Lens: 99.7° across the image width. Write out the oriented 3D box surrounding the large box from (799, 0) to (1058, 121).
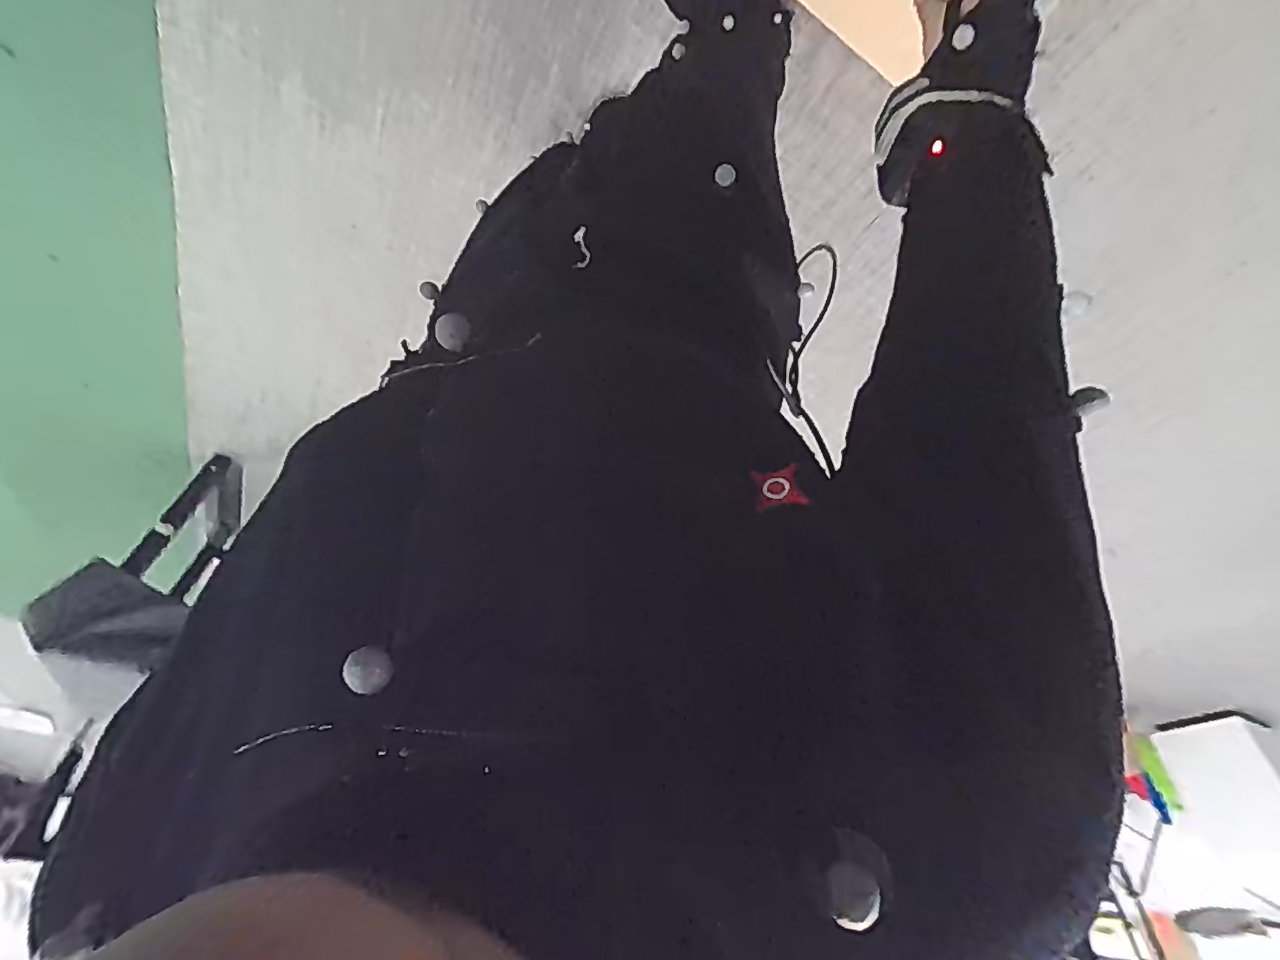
[{"bbox_3d":[0.343,-0.766,0.686,0.408,0.320,0.320,23,136,-20],"label":"large box"}]
